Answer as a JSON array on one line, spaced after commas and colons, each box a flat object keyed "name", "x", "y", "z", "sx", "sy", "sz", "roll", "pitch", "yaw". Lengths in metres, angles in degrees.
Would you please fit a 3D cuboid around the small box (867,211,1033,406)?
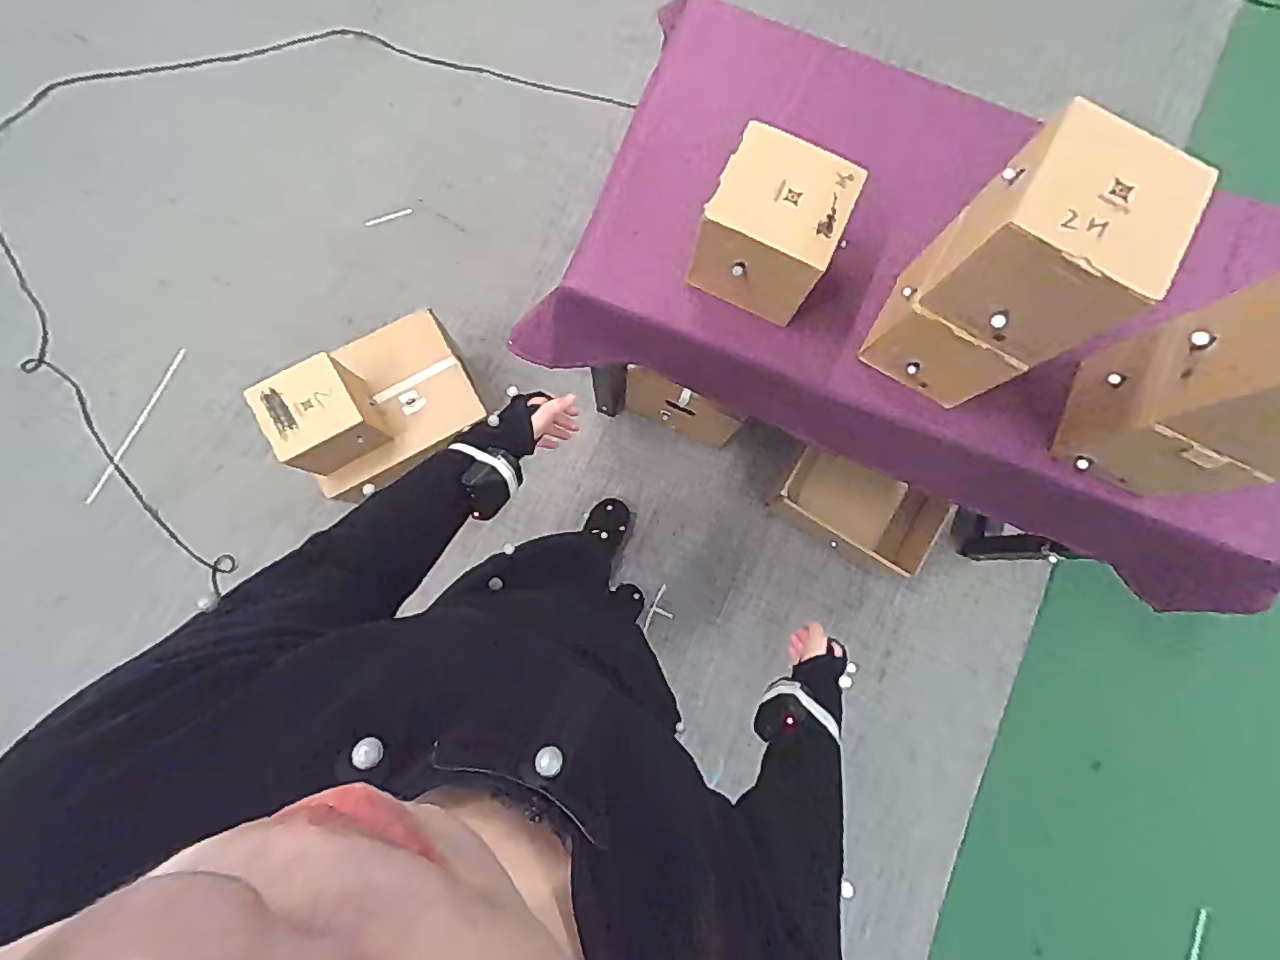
[{"name": "small box", "x": 0.464, "y": -0.236, "z": 0.784, "sx": 0.168, "sy": 0.176, "sz": 0.179, "roll": 31, "pitch": 82, "yaw": 3}]

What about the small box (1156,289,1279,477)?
[{"name": "small box", "x": 0.761, "y": -0.114, "z": 0.610, "sx": 0.179, "sy": 0.176, "sz": 0.168, "roll": 27, "pitch": 80, "yaw": 2}]

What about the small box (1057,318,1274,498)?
[{"name": "small box", "x": 0.750, "y": -0.089, "z": 0.771, "sx": 0.168, "sy": 0.176, "sz": 0.179, "roll": 26, "pitch": 80, "yaw": 2}]

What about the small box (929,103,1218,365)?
[{"name": "small box", "x": 0.476, "y": -0.266, "z": 0.622, "sx": 0.168, "sy": 0.176, "sz": 0.179, "roll": 32, "pitch": 82, "yaw": 3}]

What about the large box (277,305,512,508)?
[{"name": "large box", "x": -0.601, "y": -0.169, "z": 1.396, "sx": 0.408, "sy": 0.320, "sz": 0.320, "roll": -29, "pitch": 84, "yaw": -7}]

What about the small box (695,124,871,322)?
[{"name": "small box", "x": 0.194, "y": -0.360, "z": 0.790, "sx": 0.179, "sy": 0.176, "sz": 0.168, "roll": 26, "pitch": 82, "yaw": 2}]
